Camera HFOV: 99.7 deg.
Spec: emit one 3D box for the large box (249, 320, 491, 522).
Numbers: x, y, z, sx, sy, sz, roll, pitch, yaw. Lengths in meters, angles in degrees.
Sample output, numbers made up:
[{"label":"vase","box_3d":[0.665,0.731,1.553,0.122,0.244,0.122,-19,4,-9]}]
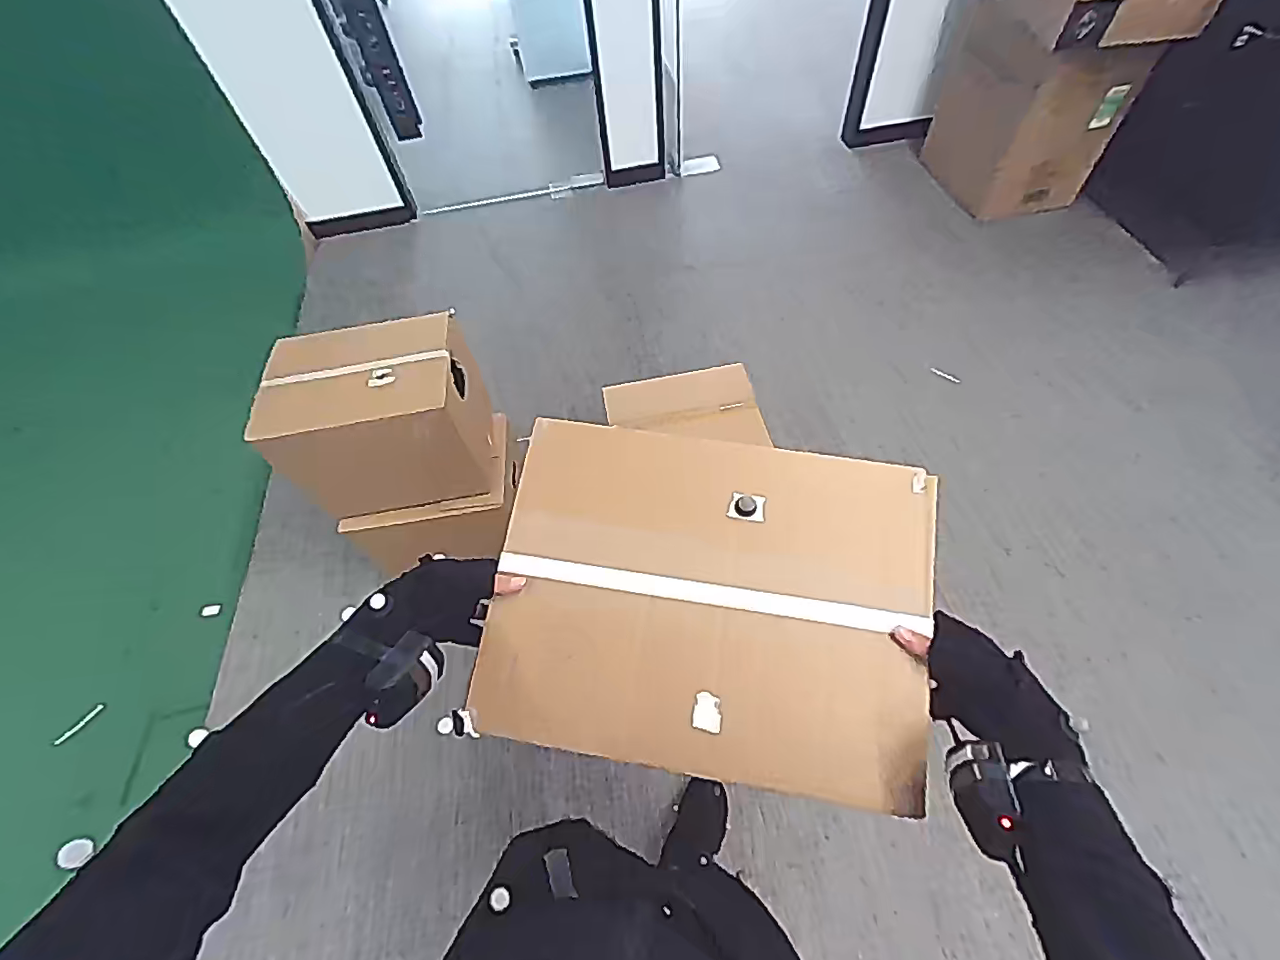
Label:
[{"label":"large box","box_3d":[-0.597,-0.135,1.286,0.408,0.320,0.320,-9,54,-3]}]
